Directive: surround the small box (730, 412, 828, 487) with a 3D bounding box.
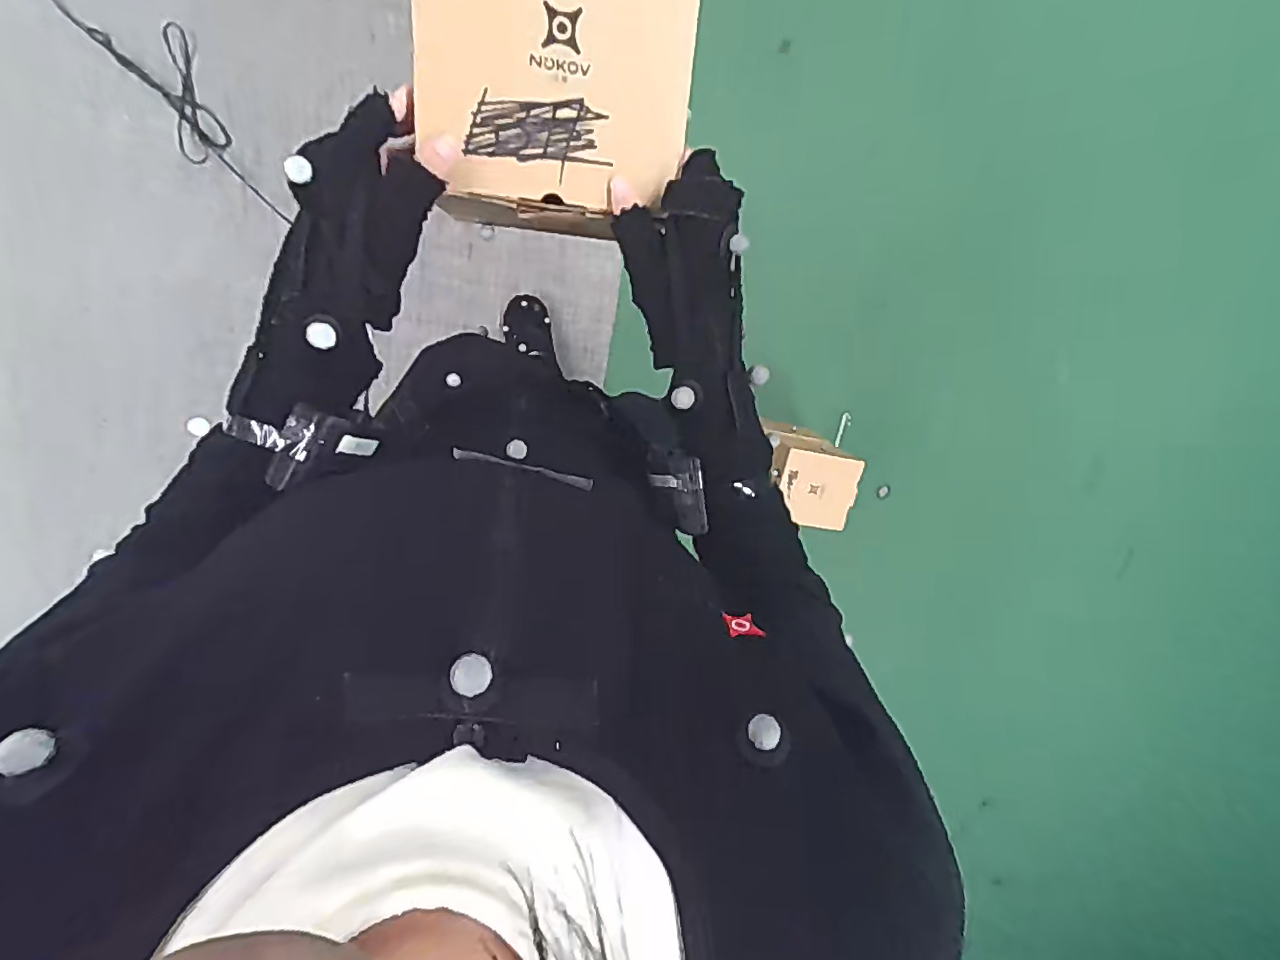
[{"bbox_3d":[0.353,-0.071,1.402,0.179,0.176,0.168,10,106,-8],"label":"small box"}]

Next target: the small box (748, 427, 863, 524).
[{"bbox_3d":[0.373,-0.016,1.249,0.179,0.176,0.168,10,107,-10],"label":"small box"}]

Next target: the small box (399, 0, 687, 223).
[{"bbox_3d":[-0.067,-0.294,0.388,0.168,0.176,0.179,2,109,-12],"label":"small box"}]
